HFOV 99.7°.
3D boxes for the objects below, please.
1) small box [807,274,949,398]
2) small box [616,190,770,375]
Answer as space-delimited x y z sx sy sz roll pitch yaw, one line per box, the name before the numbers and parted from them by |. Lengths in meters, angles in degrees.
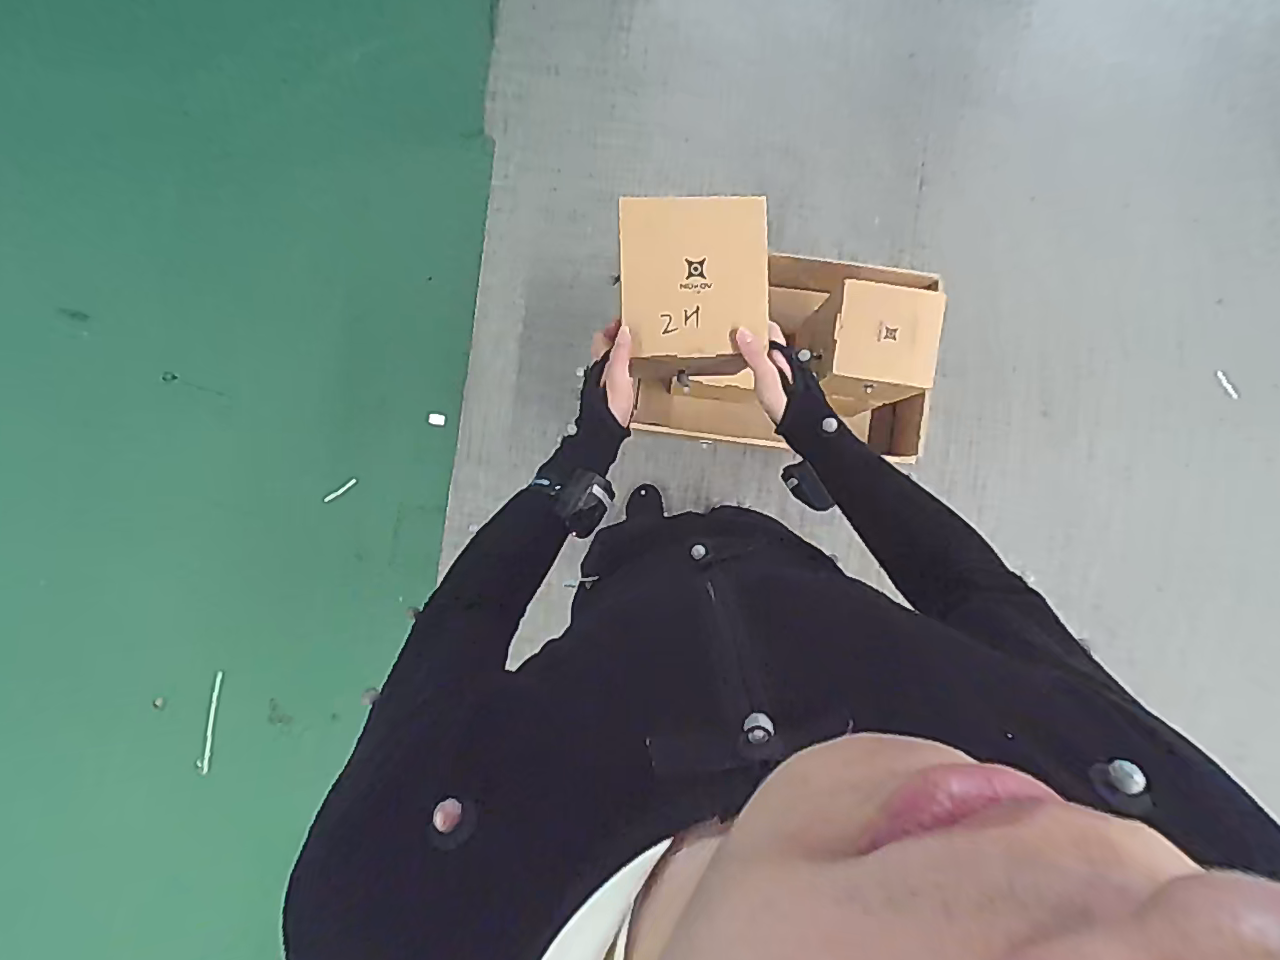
small box | 0.419 -0.251 0.983 0.179 0.176 0.168 9 90 0
small box | 0.055 -0.230 0.668 0.168 0.176 0.179 -2 94 -4
